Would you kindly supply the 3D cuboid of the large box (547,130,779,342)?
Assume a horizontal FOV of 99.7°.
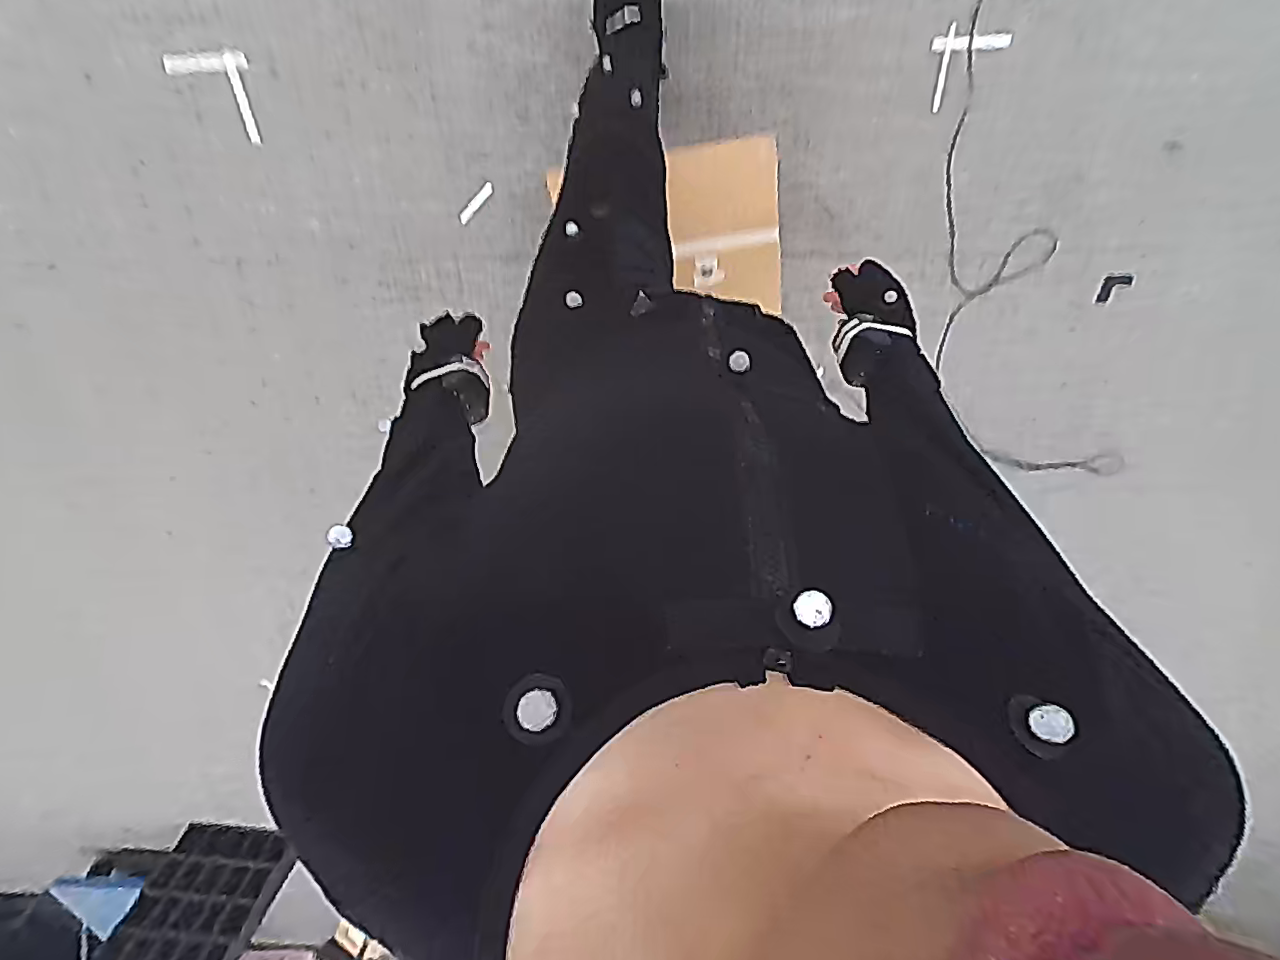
[{"bbox_3d":[0.054,-0.506,1.136,0.408,0.320,0.320,-7,119,4],"label":"large box"}]
